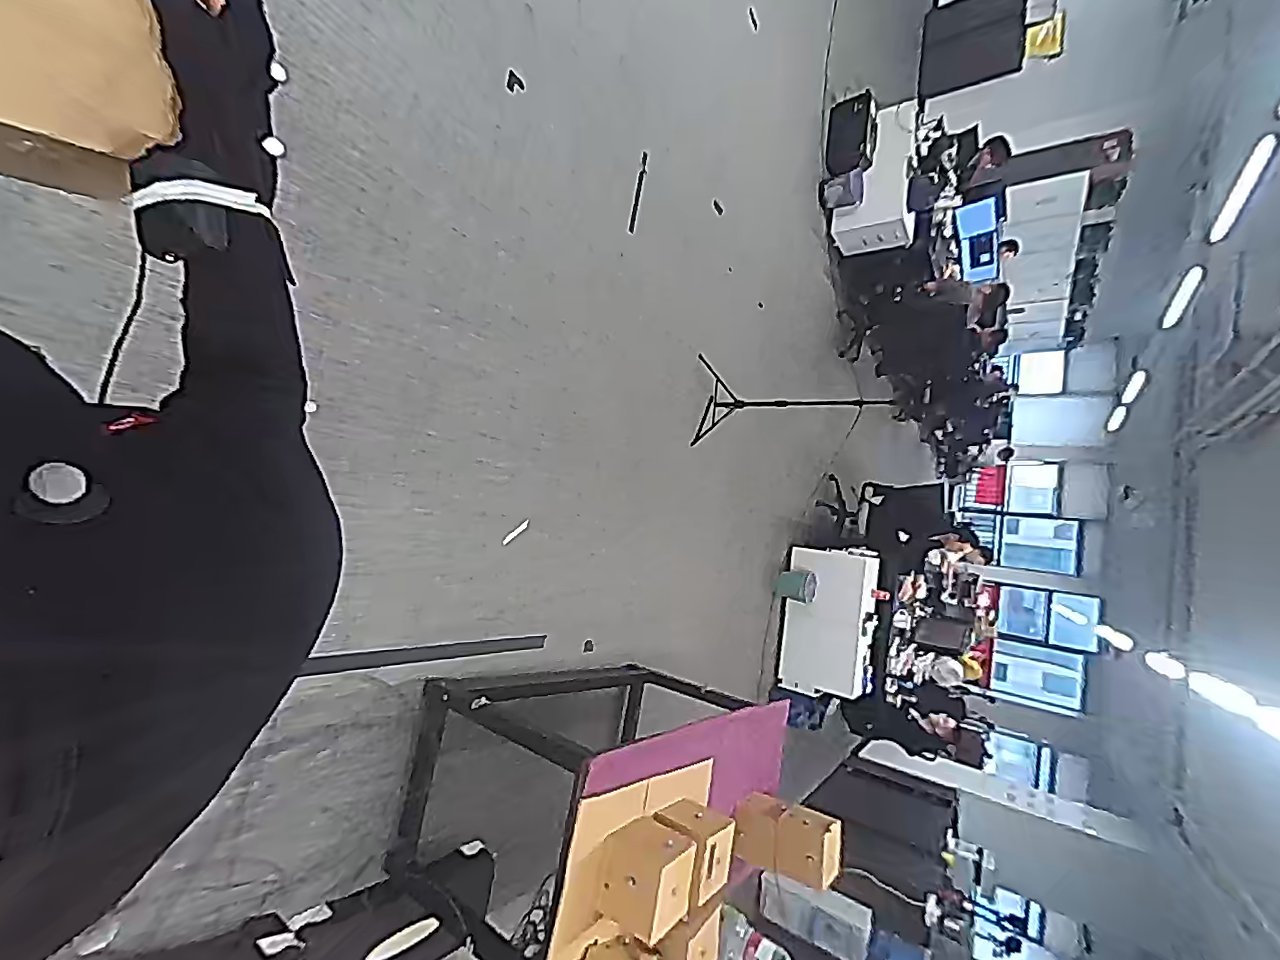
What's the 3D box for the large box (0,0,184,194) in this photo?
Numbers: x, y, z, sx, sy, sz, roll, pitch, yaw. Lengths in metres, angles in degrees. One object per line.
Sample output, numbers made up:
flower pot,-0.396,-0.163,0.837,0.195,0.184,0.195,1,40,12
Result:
large box,-0.575,-0.413,0.328,0.408,0.320,0.320,-4,109,-52
